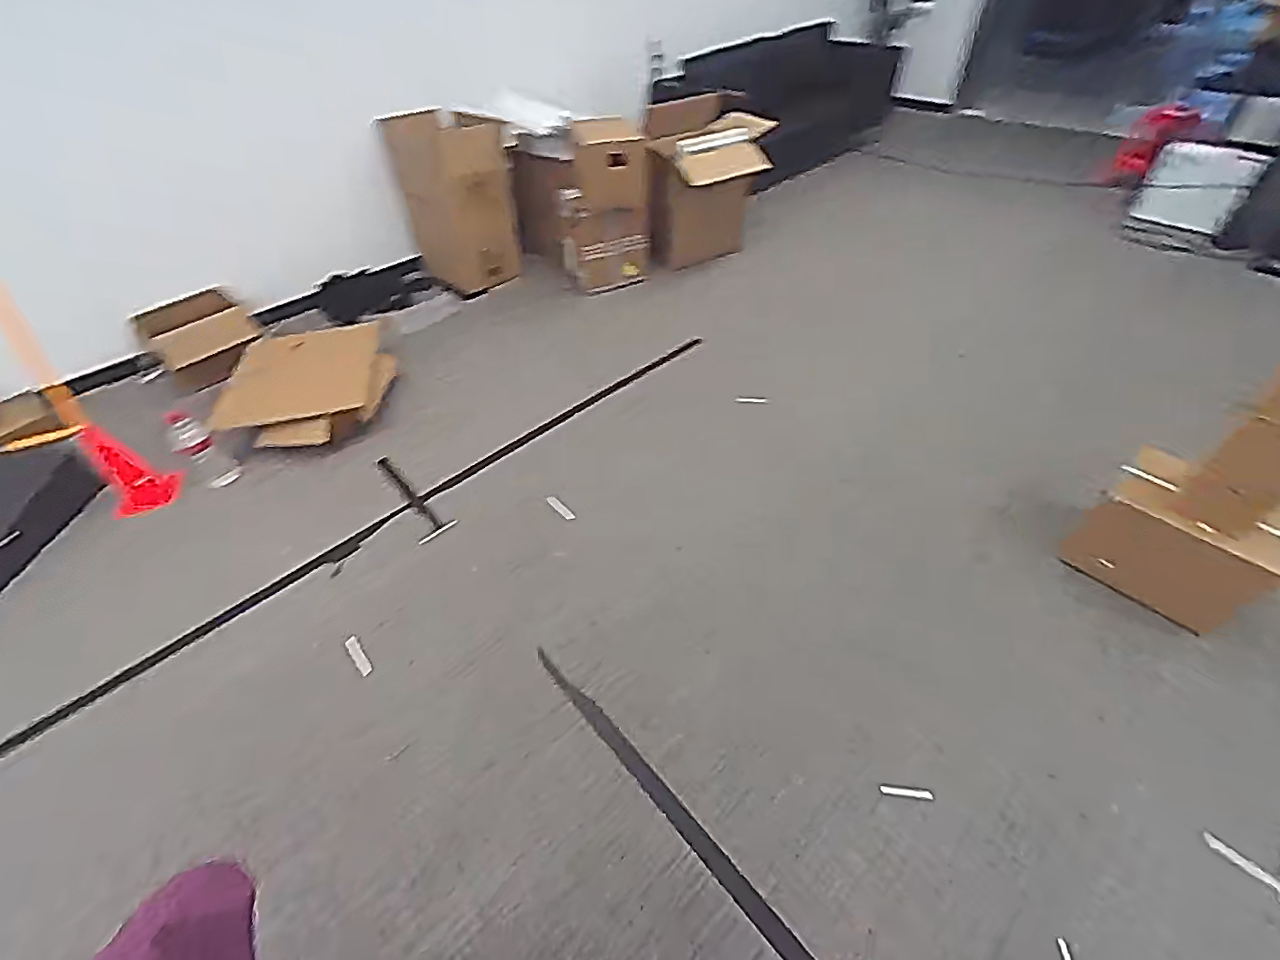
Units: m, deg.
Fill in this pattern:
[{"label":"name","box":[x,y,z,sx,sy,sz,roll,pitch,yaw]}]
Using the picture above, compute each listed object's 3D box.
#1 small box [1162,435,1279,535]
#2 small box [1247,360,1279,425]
[{"label":"small box","box":[1.577,0.016,1.459,0.168,0.176,0.179,-37,55,-27]},{"label":"small box","box":[1.562,-0.221,1.234,0.179,0.176,0.168,-37,54,-26]}]
